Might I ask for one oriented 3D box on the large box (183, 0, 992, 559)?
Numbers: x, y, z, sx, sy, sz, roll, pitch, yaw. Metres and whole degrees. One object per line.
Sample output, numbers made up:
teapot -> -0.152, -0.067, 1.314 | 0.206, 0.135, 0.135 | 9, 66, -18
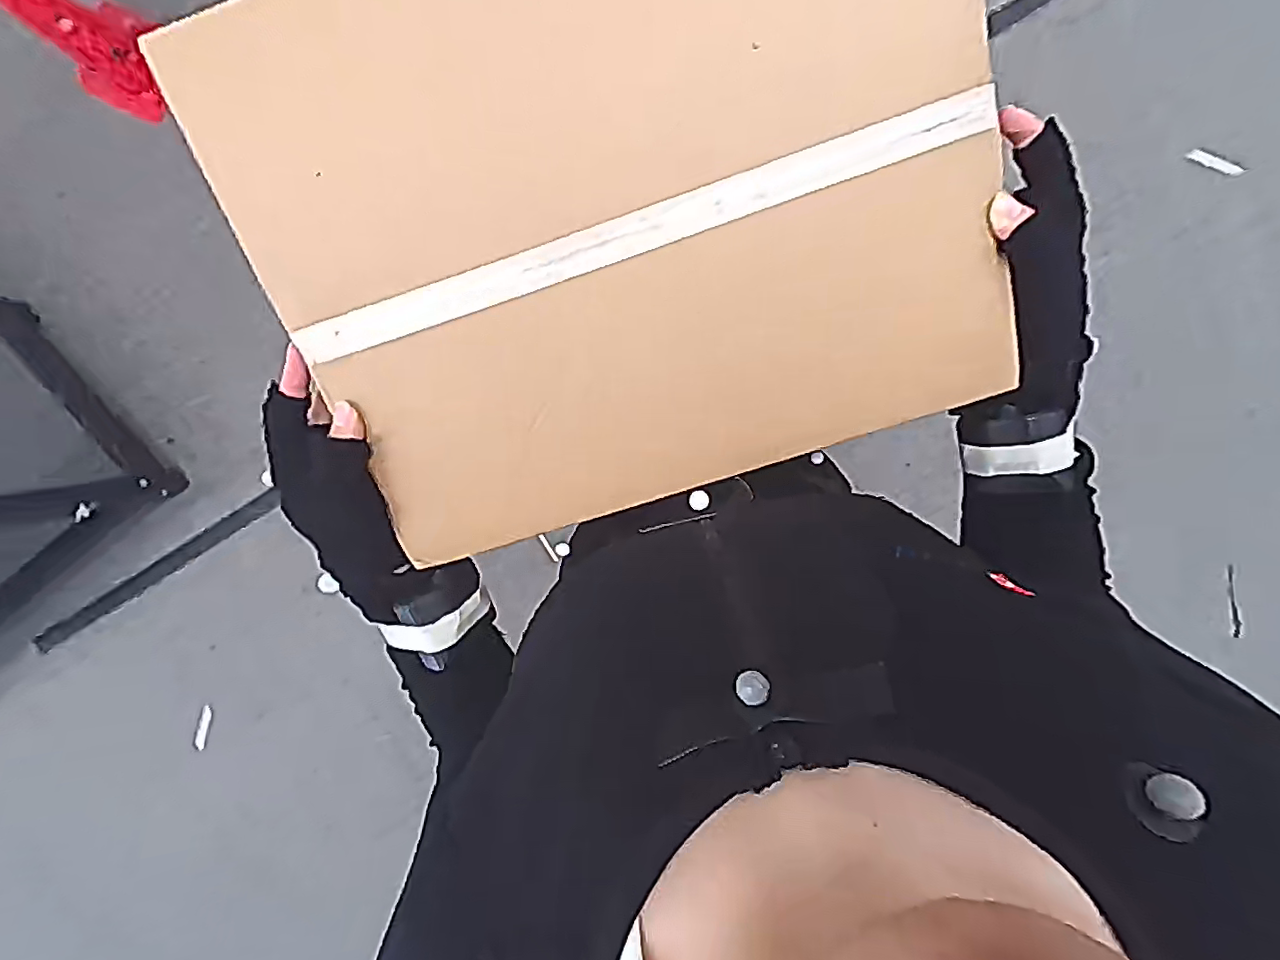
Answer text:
large box -> -0.009, -0.189, 0.452 | 0.408, 0.320, 0.320 | -17, 109, 5
